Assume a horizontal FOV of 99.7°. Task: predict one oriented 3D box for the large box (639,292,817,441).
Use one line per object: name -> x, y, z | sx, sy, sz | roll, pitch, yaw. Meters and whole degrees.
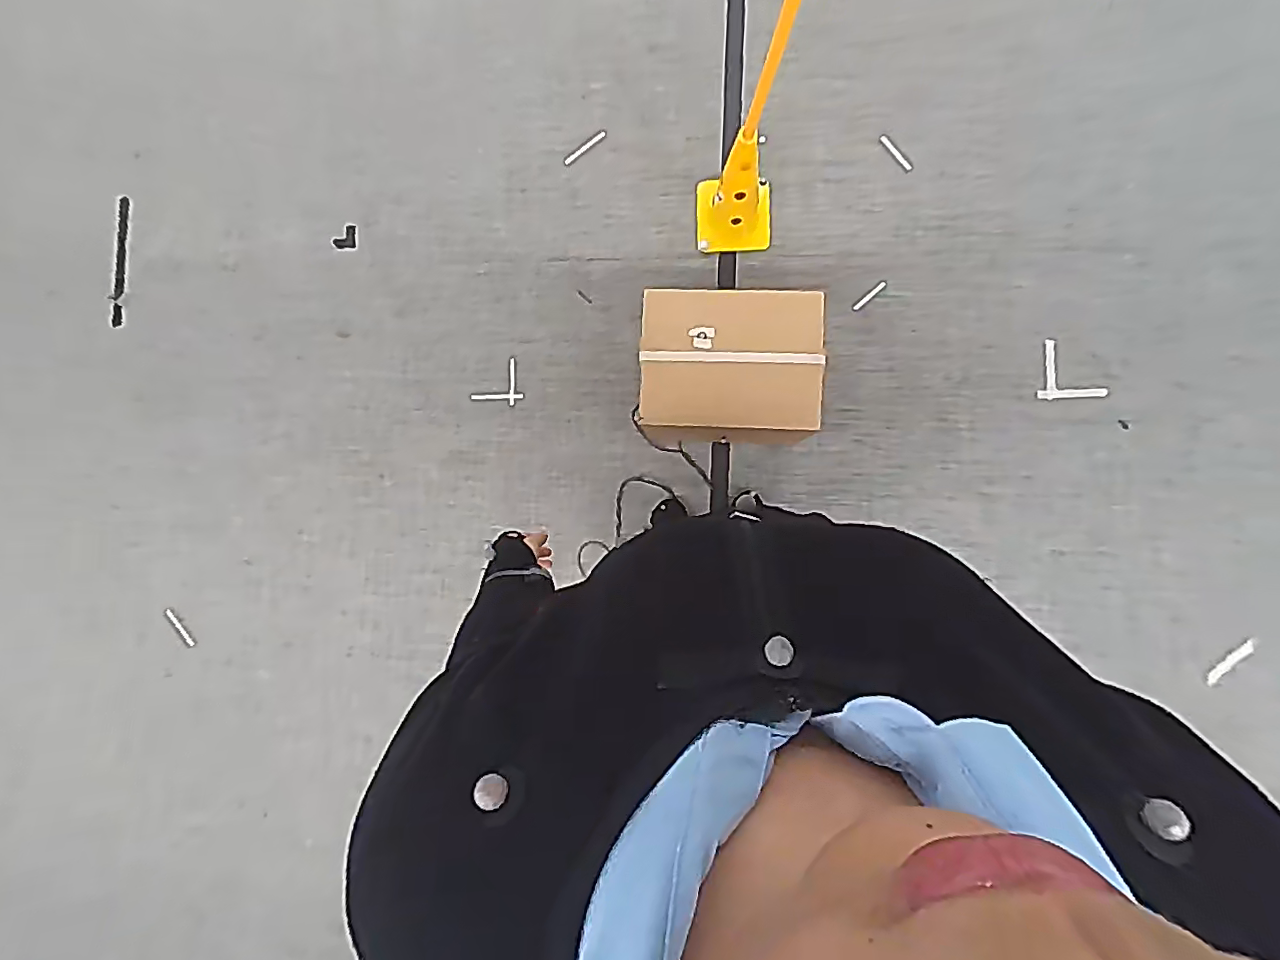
large box -> 0.212, -0.266, 1.369 | 0.408, 0.320, 0.320 | 2, 87, 5
